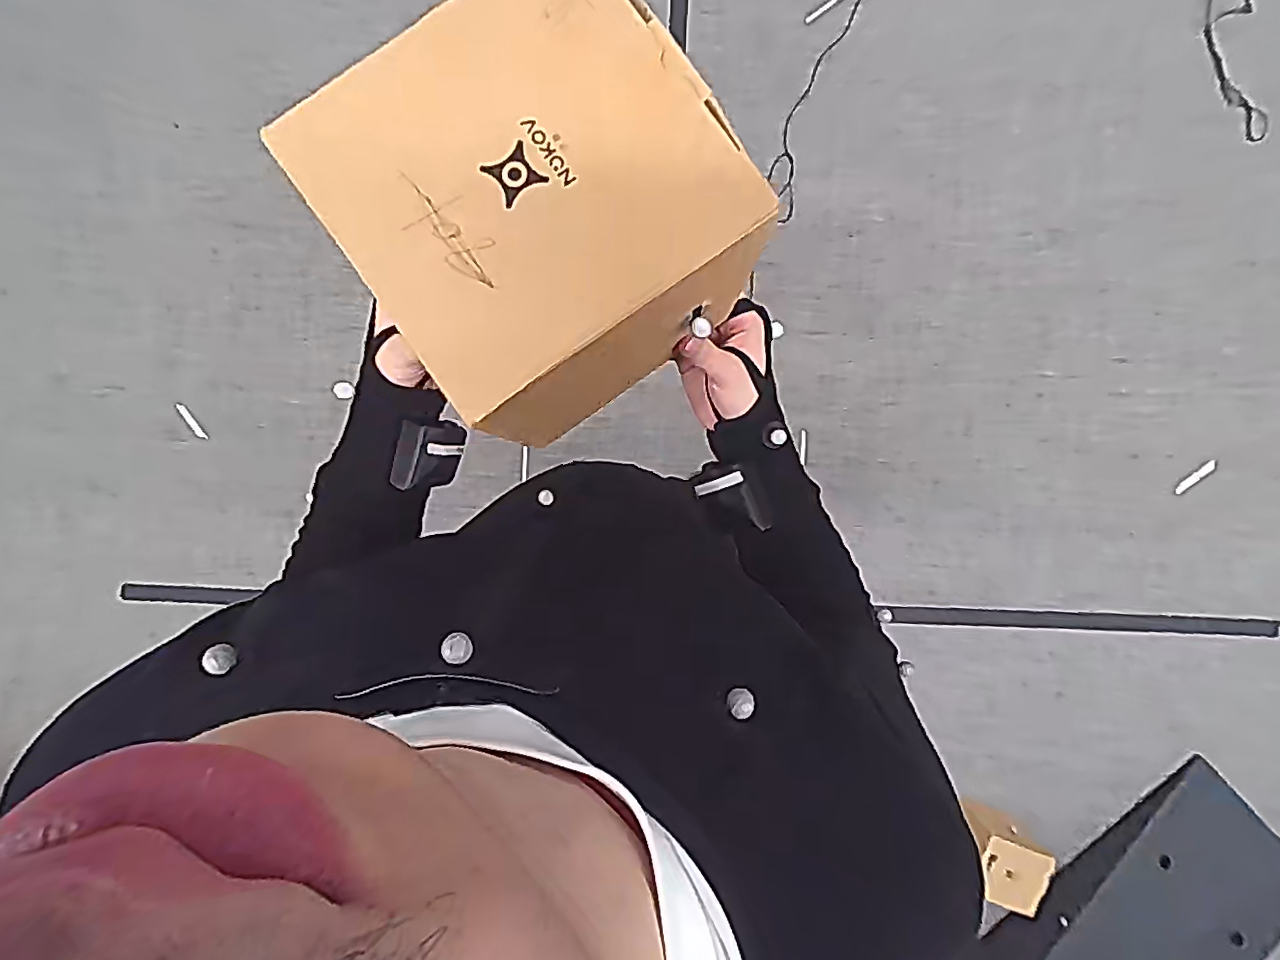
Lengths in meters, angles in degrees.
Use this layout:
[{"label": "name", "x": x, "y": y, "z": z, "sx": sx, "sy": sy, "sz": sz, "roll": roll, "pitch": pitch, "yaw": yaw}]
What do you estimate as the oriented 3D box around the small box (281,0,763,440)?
[{"label": "small box", "x": -0.056, "y": -0.143, "z": 0.336, "sx": 0.179, "sy": 0.176, "sz": 0.168, "roll": -36, "pitch": 88, "yaw": -1}]
